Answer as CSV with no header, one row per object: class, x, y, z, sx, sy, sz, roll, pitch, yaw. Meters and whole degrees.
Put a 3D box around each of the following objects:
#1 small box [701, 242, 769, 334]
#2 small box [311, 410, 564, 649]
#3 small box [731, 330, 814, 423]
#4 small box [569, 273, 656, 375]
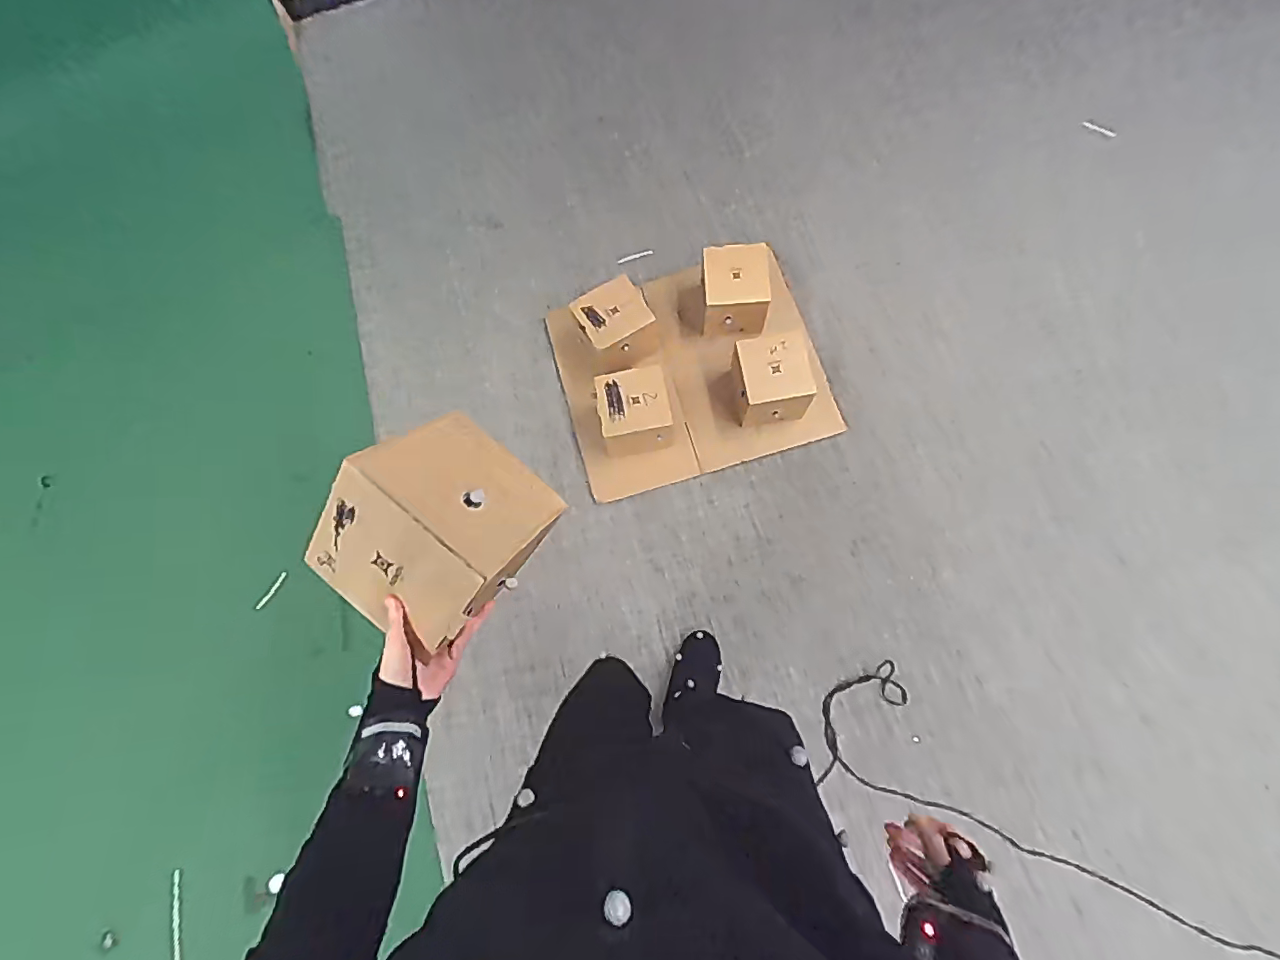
small box,0.253,-0.510,1.464,0.168,0.176,0.179,-3,74,4
small box,-0.217,0.045,0.611,0.179,0.176,0.168,41,119,0
small box,0.333,-0.256,1.388,0.168,0.176,0.179,-9,75,2
small box,-0.068,-0.415,1.468,0.179,0.176,0.168,-30,75,-5
